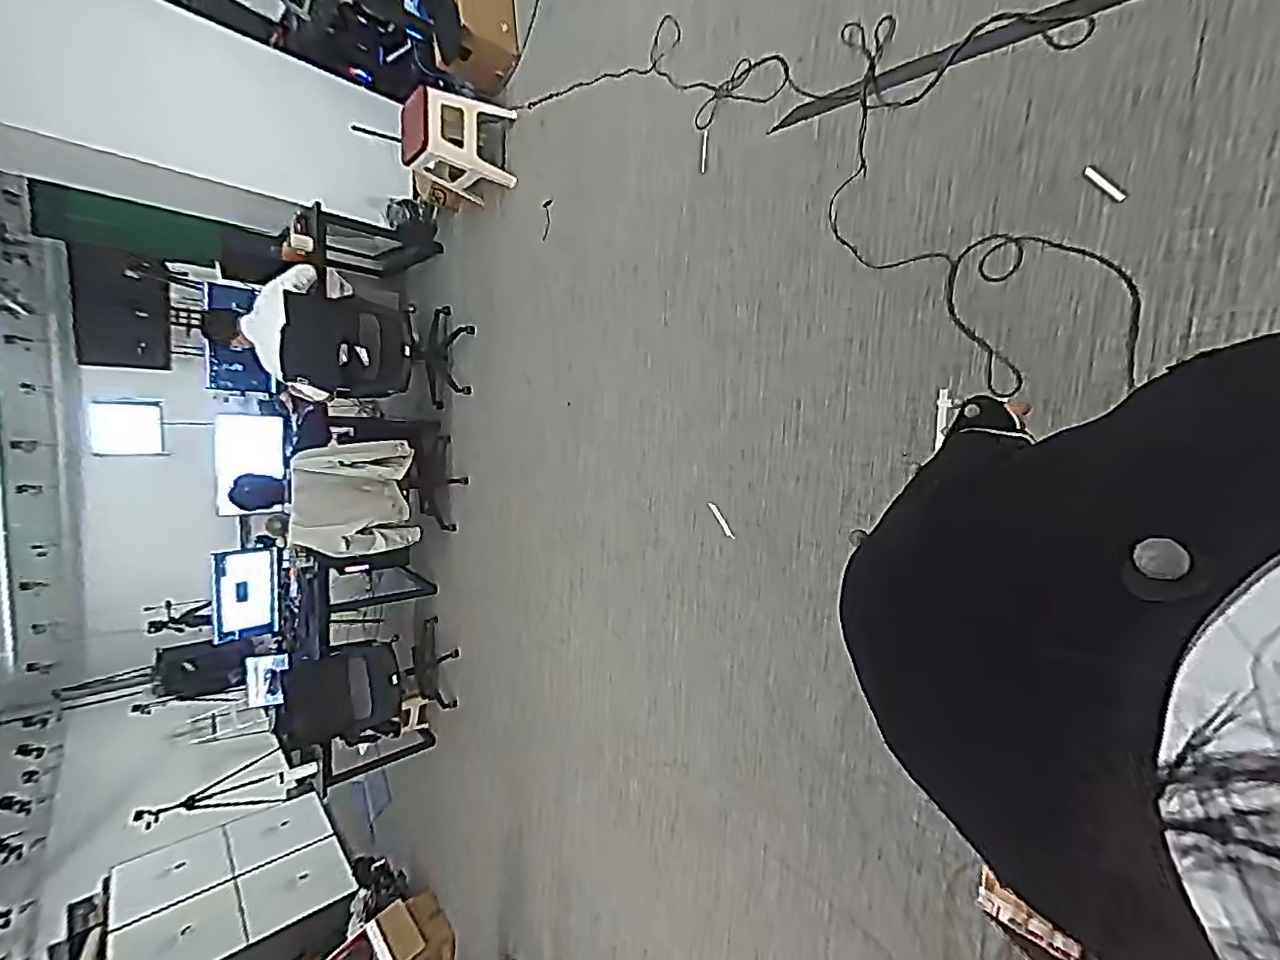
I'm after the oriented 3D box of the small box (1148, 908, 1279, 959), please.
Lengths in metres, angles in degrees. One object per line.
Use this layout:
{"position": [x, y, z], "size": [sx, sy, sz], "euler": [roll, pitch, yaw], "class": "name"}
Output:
{"position": [0.739, 0.700, 0.669], "size": [0.168, 0.176, 0.179], "euler": [5, 93, 46], "class": "small box"}
